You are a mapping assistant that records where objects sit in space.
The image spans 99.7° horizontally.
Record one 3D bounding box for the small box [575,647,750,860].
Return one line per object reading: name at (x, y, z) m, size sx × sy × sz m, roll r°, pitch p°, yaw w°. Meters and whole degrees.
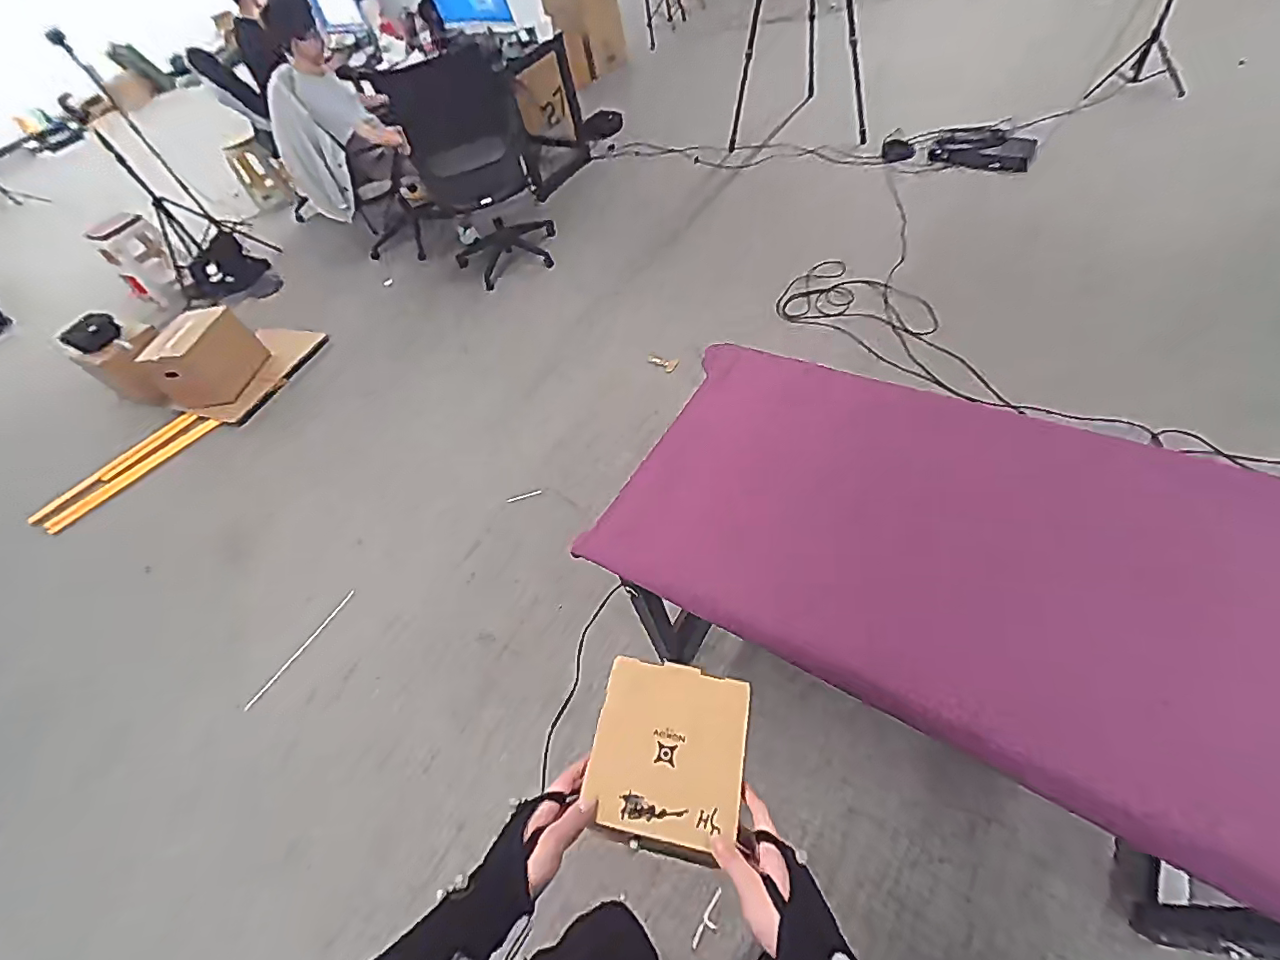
small box at (0.032, 0.330, 0.651) m, size 0.168 × 0.176 × 0.179 m, roll 9°, pitch 52°, yaw 10°
